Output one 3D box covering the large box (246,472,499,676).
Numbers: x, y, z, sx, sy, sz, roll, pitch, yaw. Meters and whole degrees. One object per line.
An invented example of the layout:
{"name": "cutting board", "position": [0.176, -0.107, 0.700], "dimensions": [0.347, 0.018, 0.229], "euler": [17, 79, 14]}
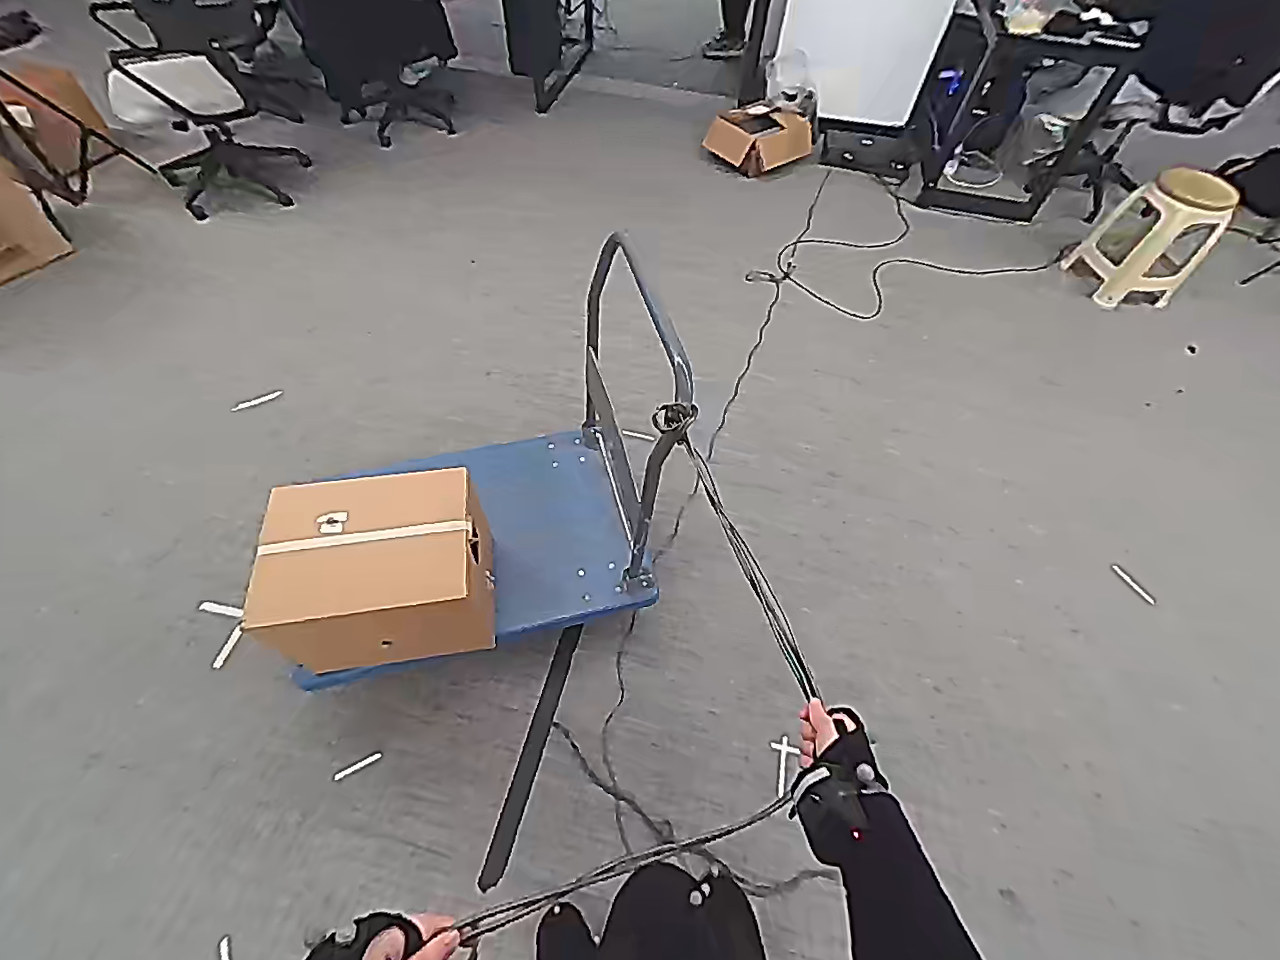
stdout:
{"name": "large box", "position": [-0.547, 0.215, 1.203], "dimensions": [0.408, 0.320, 0.320], "euler": [-7, 55, -7]}
